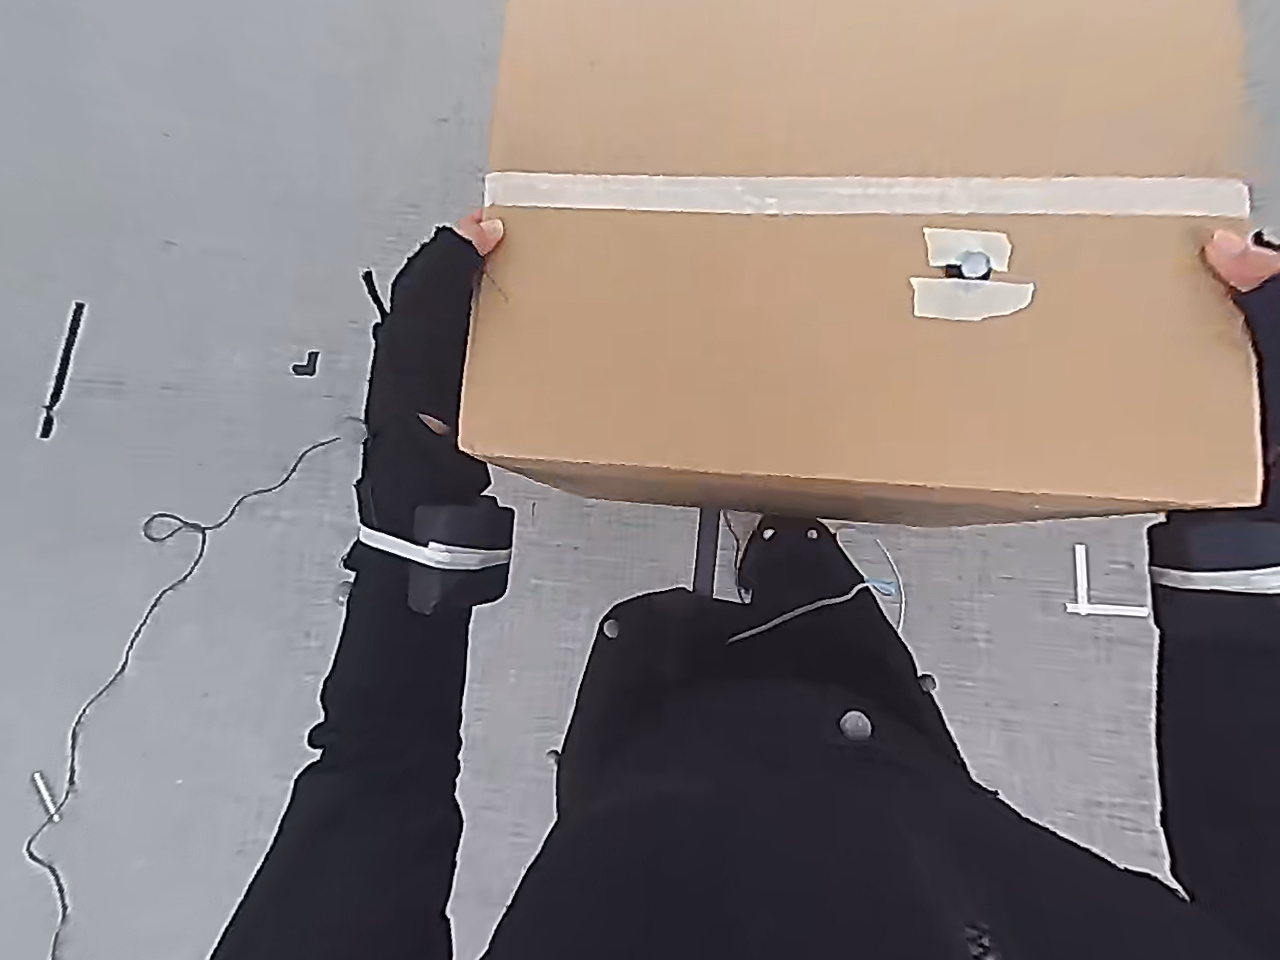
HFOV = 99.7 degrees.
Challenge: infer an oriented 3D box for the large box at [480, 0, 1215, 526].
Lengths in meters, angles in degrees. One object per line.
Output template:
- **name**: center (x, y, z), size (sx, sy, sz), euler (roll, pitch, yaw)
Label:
- **large box**: center (0.122, -0.130, 0.461), size (0.408, 0.320, 0.320), euler (4, 85, 5)
